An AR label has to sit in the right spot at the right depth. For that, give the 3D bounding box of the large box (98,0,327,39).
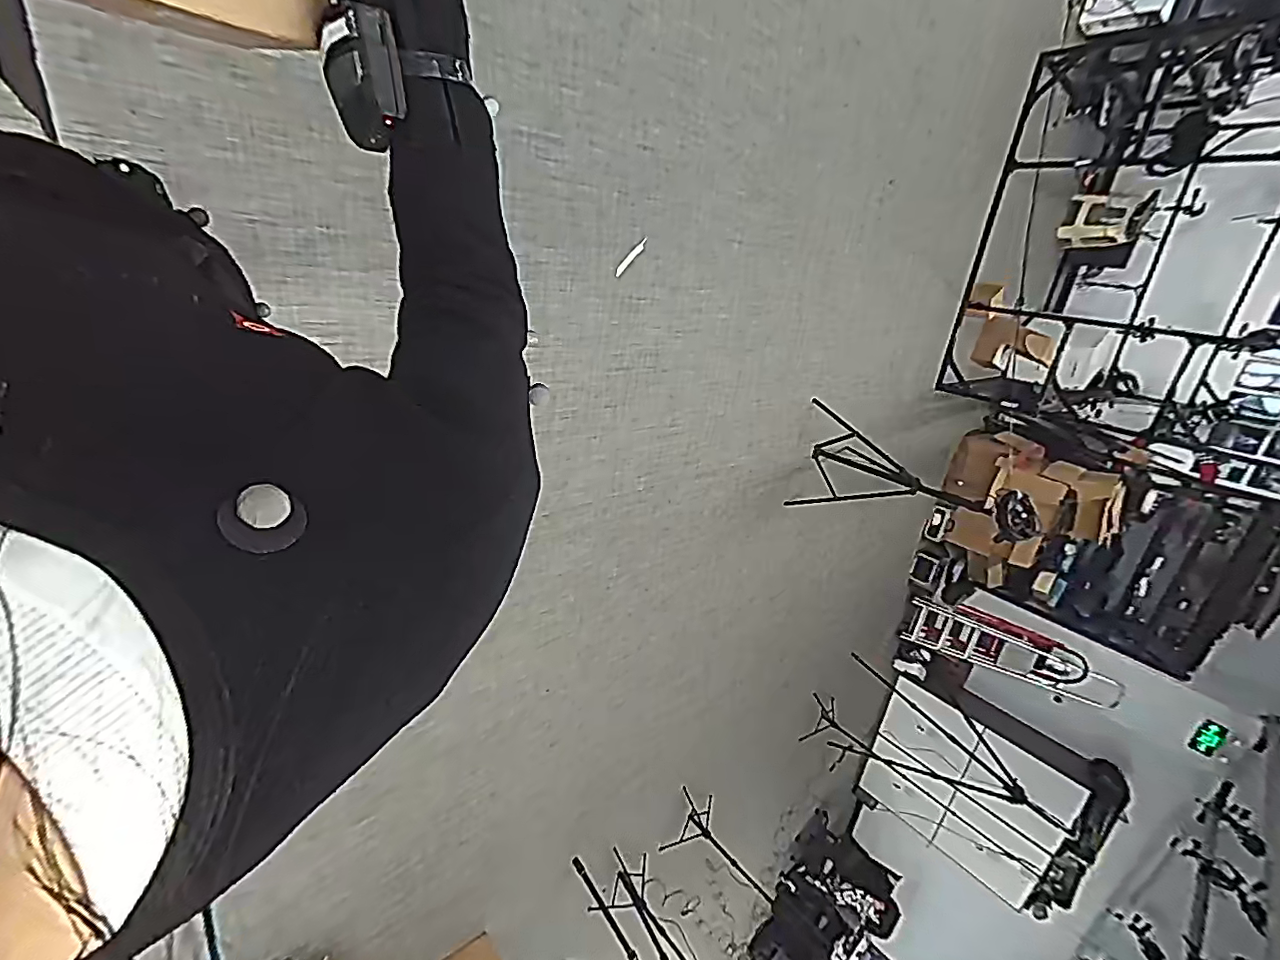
[{"bbox_3d":[-0.418,-0.457,0.249,0.408,0.320,0.320,-12,129,-39],"label":"large box"}]
